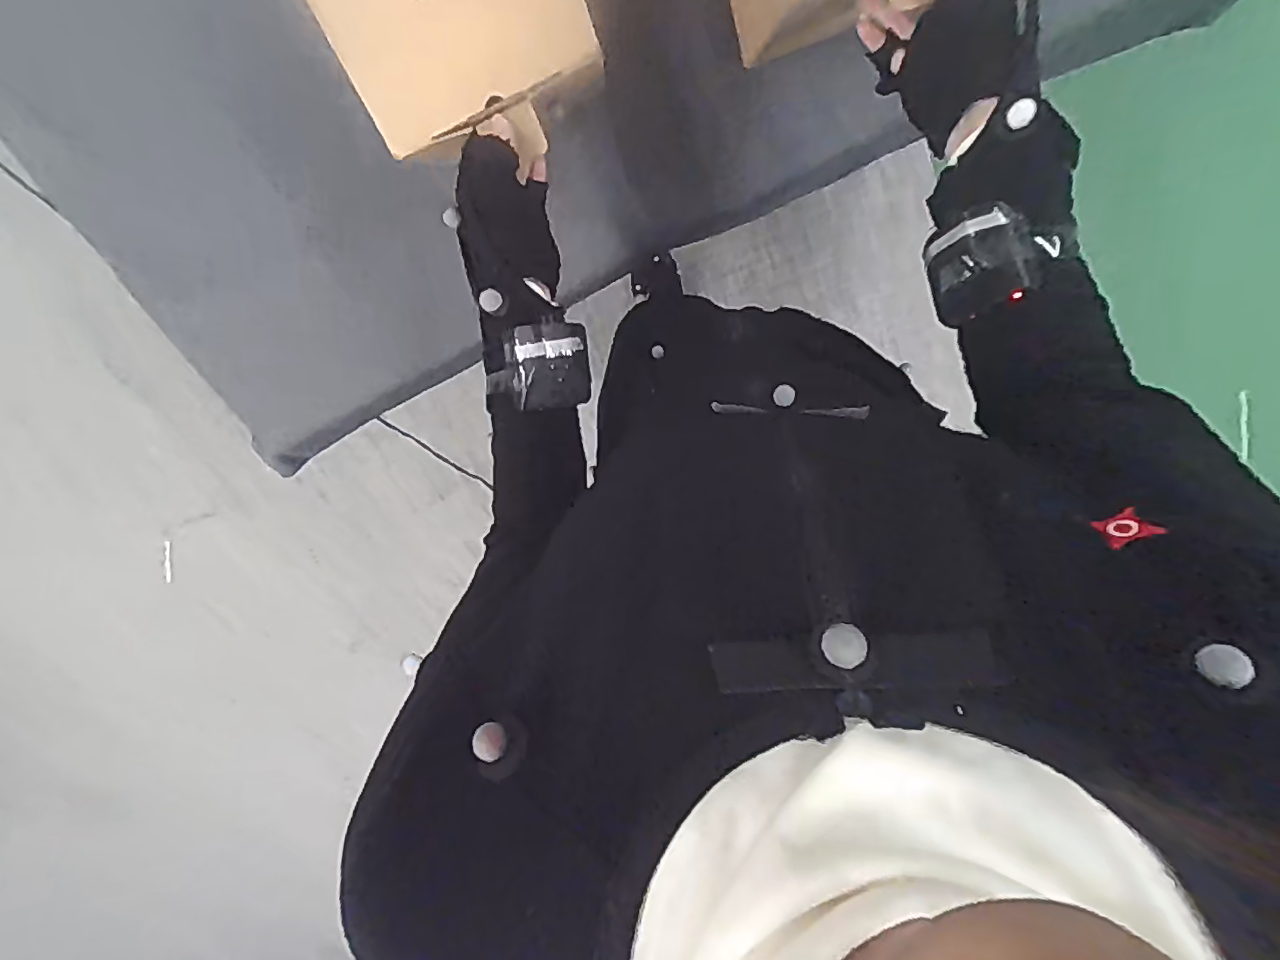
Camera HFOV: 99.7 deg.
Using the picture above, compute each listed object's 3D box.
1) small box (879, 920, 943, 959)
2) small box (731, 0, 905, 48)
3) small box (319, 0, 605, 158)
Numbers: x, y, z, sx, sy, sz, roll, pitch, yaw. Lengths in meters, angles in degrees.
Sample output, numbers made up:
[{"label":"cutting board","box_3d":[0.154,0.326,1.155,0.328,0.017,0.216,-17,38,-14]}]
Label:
[{"label":"small box","box_3d":[0.951,1.678,1.871,0.179,0.176,0.168,-19,110,6]},{"label":"small box","box_3d":[0.153,-0.455,0.391,0.168,0.176,0.179,-20,112,2]},{"label":"small box","box_3d":[-0.133,-0.369,0.407,0.168,0.176,0.179,-22,118,7]}]
